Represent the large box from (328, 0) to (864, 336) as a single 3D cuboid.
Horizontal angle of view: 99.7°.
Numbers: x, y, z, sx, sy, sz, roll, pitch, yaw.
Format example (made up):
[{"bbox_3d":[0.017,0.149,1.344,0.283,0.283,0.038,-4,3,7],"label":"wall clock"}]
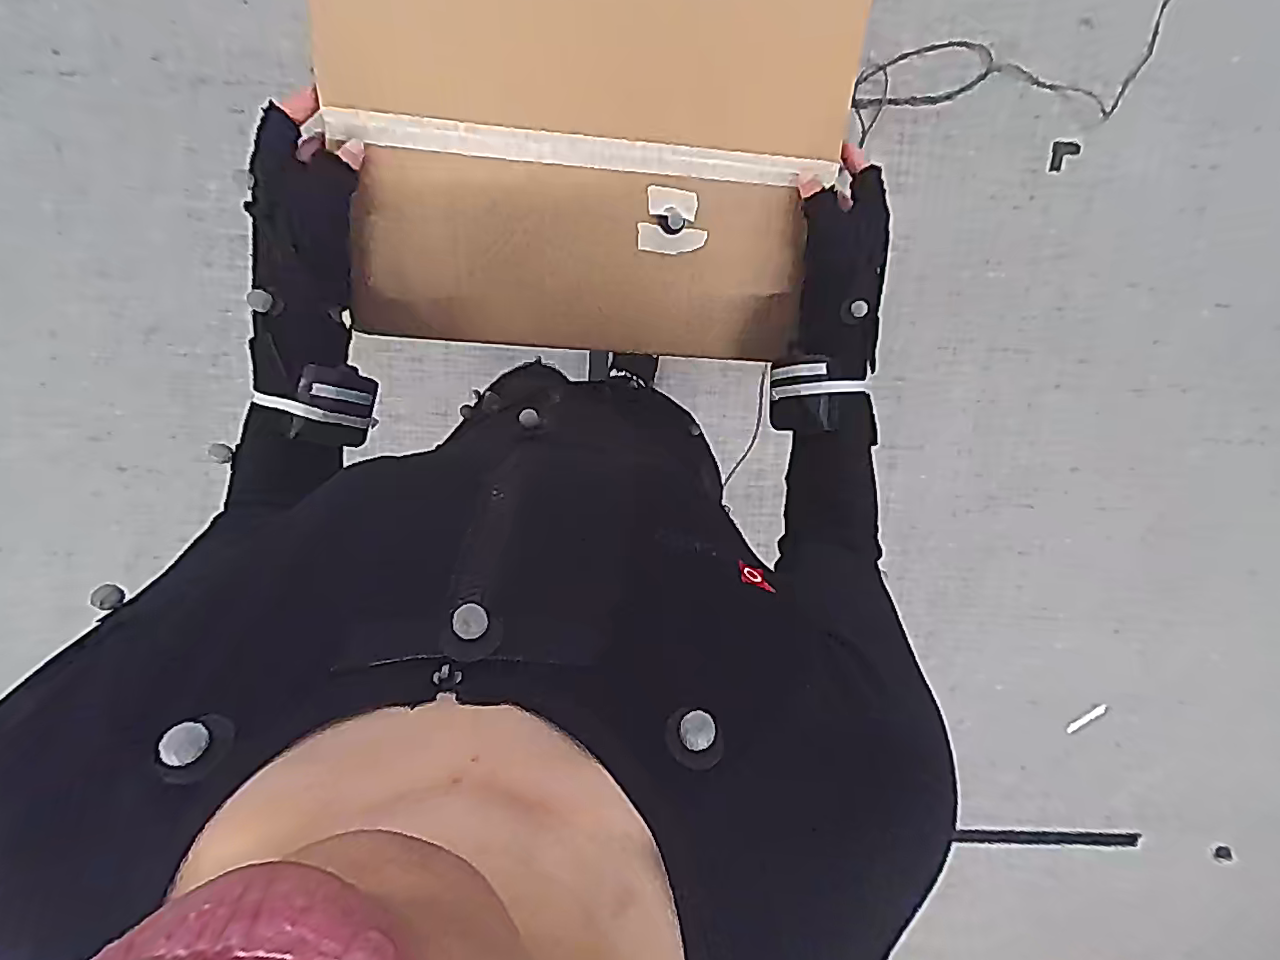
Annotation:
[{"bbox_3d":[-0.047,-0.341,0.569,0.408,0.320,0.320,1,116,-7],"label":"large box"}]
